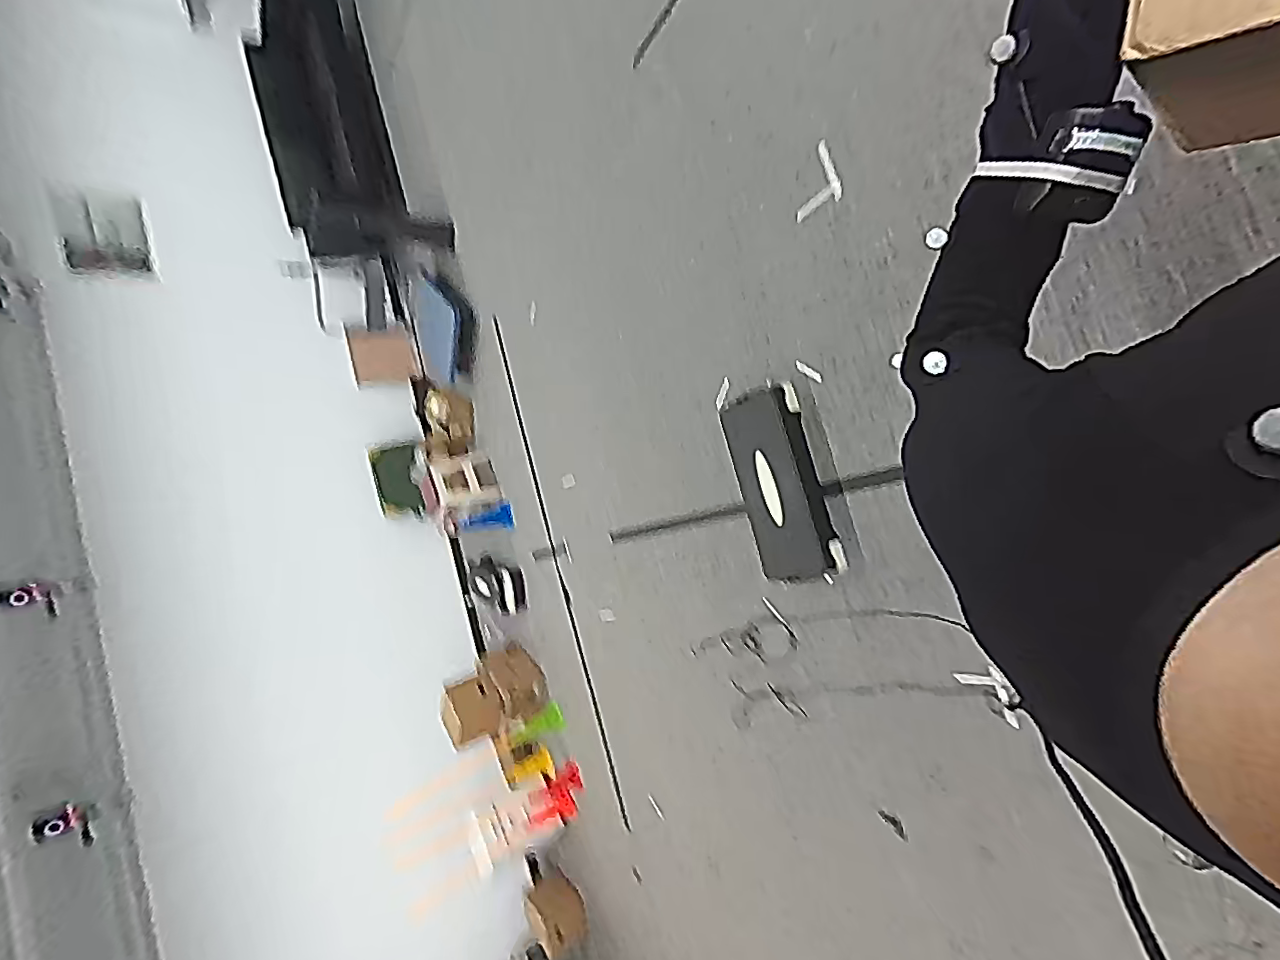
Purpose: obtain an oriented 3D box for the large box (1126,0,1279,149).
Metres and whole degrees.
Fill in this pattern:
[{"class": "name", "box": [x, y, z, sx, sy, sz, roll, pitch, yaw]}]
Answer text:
[{"class": "large box", "box": [0.536, -0.412, 0.254, 0.408, 0.320, 0.320, 13, 111, 47]}]
